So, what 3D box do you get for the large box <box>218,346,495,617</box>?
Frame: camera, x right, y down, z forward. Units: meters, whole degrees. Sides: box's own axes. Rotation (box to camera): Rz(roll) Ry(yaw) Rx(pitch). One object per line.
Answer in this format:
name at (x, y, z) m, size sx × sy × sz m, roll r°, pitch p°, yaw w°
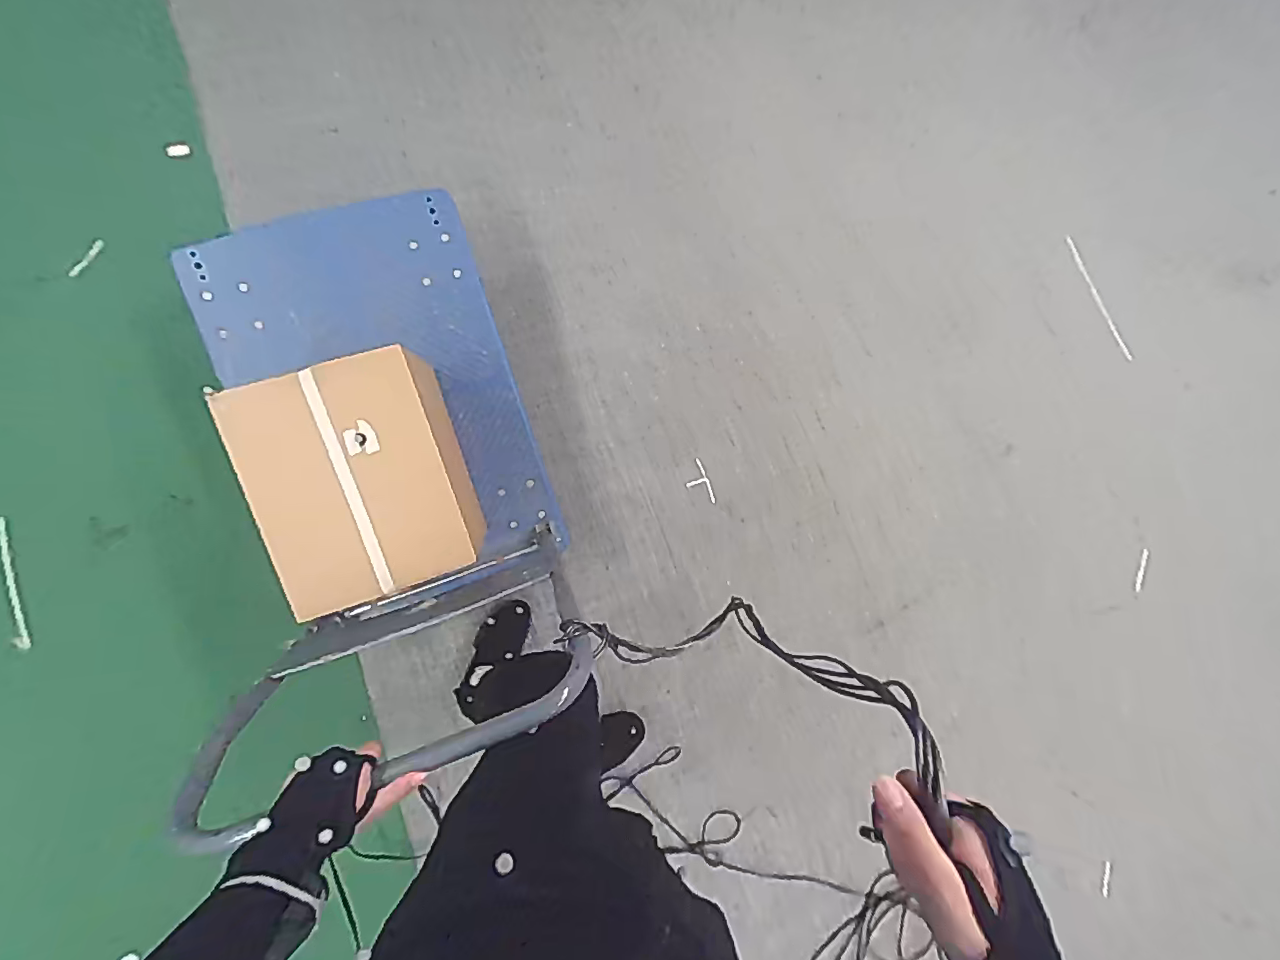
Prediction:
large box at (-0.512, -0.006, 1.072) m, size 0.320 × 0.320 × 0.408 m, roll -19°, pitch 97°, yaw -10°
